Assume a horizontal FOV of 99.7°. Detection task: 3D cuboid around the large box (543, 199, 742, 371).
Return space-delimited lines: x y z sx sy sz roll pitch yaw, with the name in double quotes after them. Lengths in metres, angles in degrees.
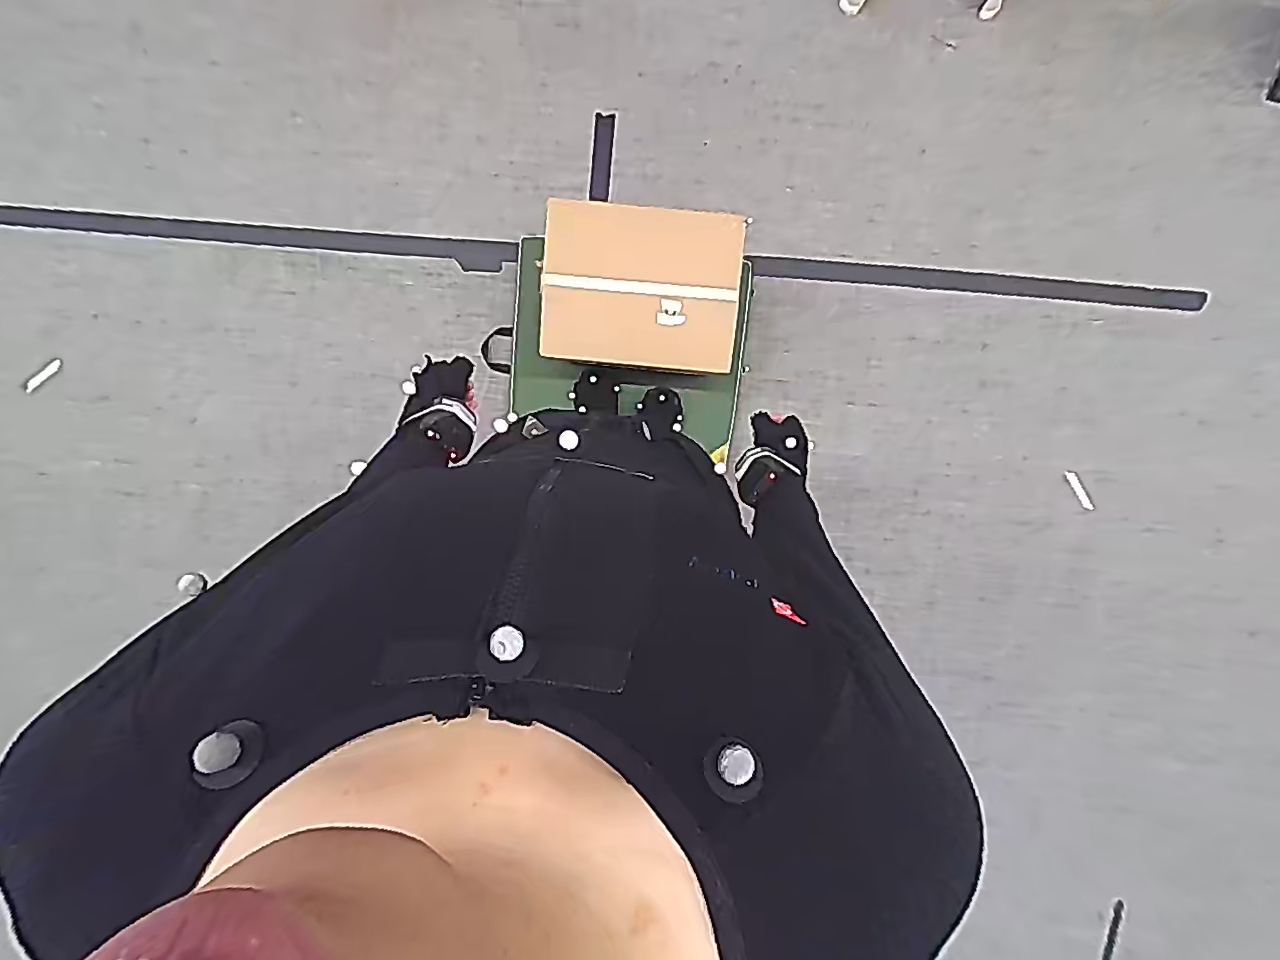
-0.002 -0.428 1.265 0.408 0.320 0.320 5 100 -1 "large box"
